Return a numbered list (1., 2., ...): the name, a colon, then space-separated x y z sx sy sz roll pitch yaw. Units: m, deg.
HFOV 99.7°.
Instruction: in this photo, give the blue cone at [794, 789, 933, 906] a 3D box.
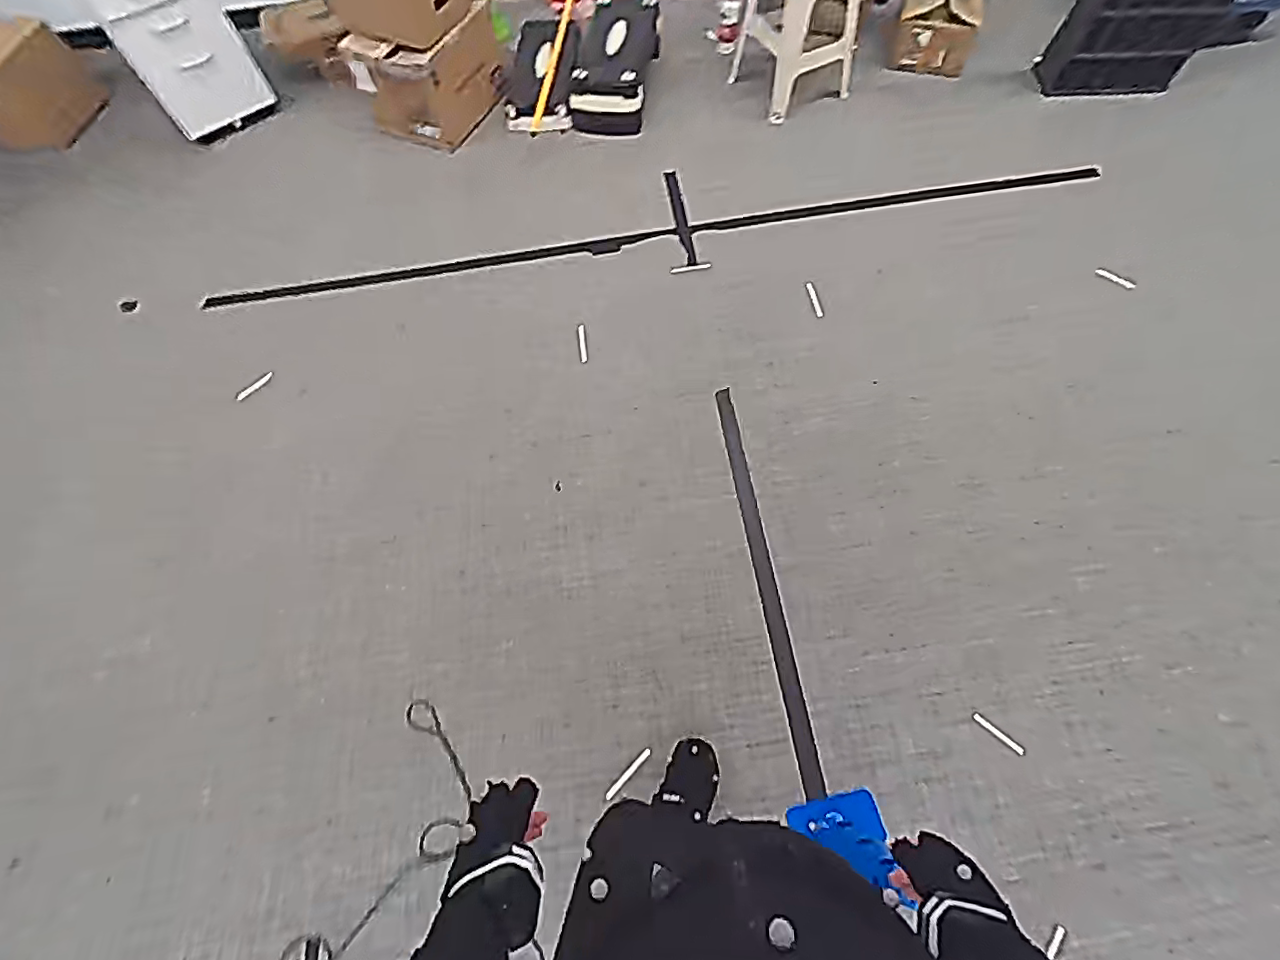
1. blue cone: 0.436 0.717 1.014 0.192 0.380 0.193 -11 65 -4
